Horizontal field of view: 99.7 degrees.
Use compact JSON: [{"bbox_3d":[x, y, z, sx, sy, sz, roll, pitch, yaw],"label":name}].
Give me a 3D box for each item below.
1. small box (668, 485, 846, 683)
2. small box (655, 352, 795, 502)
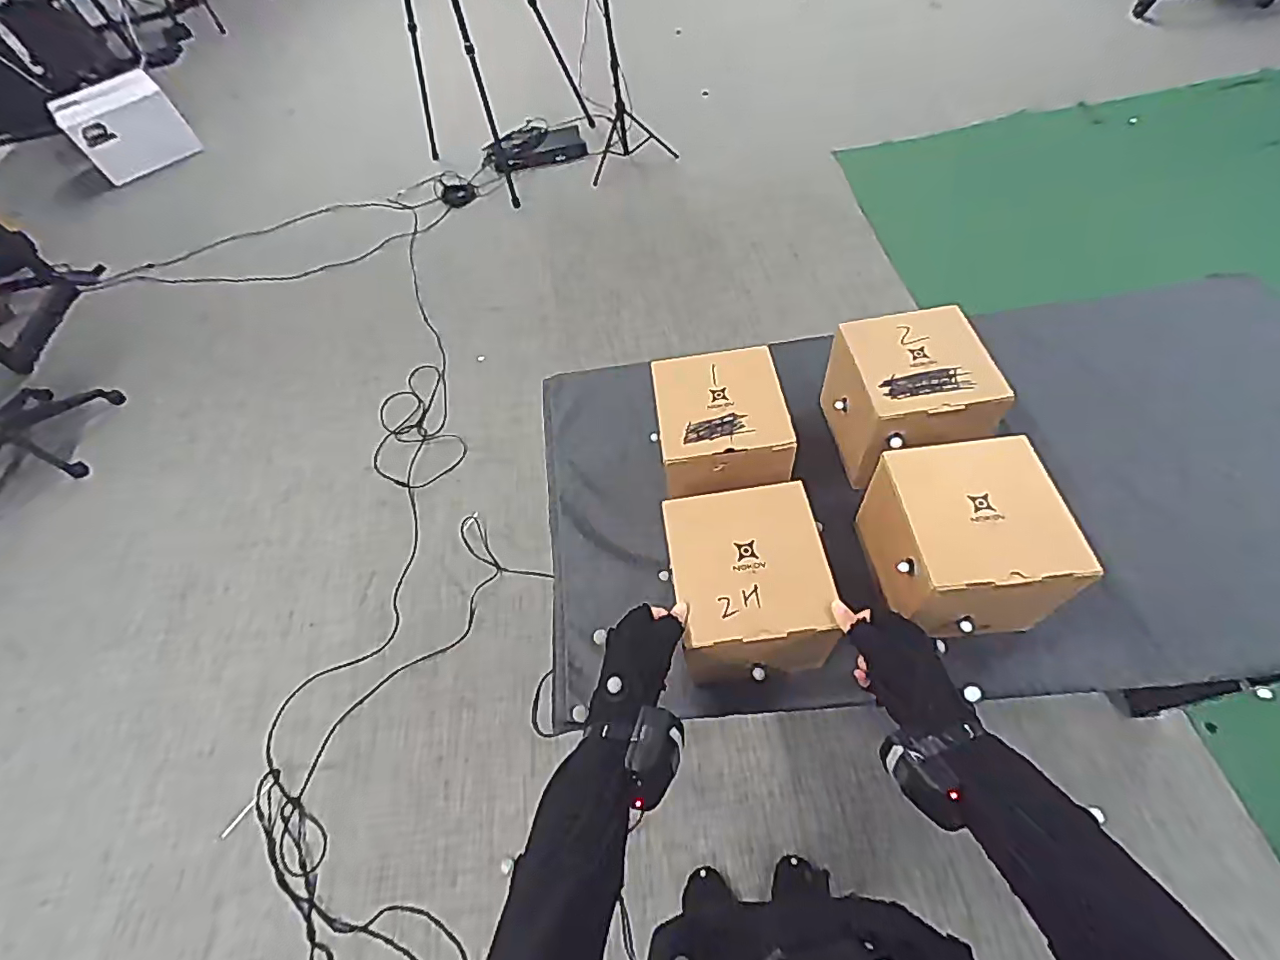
[{"bbox_3d":[0.128,0.131,0.656,0.168,0.176,0.179,-9,57,3],"label":"small box"},{"bbox_3d":[0.117,-0.054,0.781,0.168,0.176,0.179,-7,56,3],"label":"small box"}]
